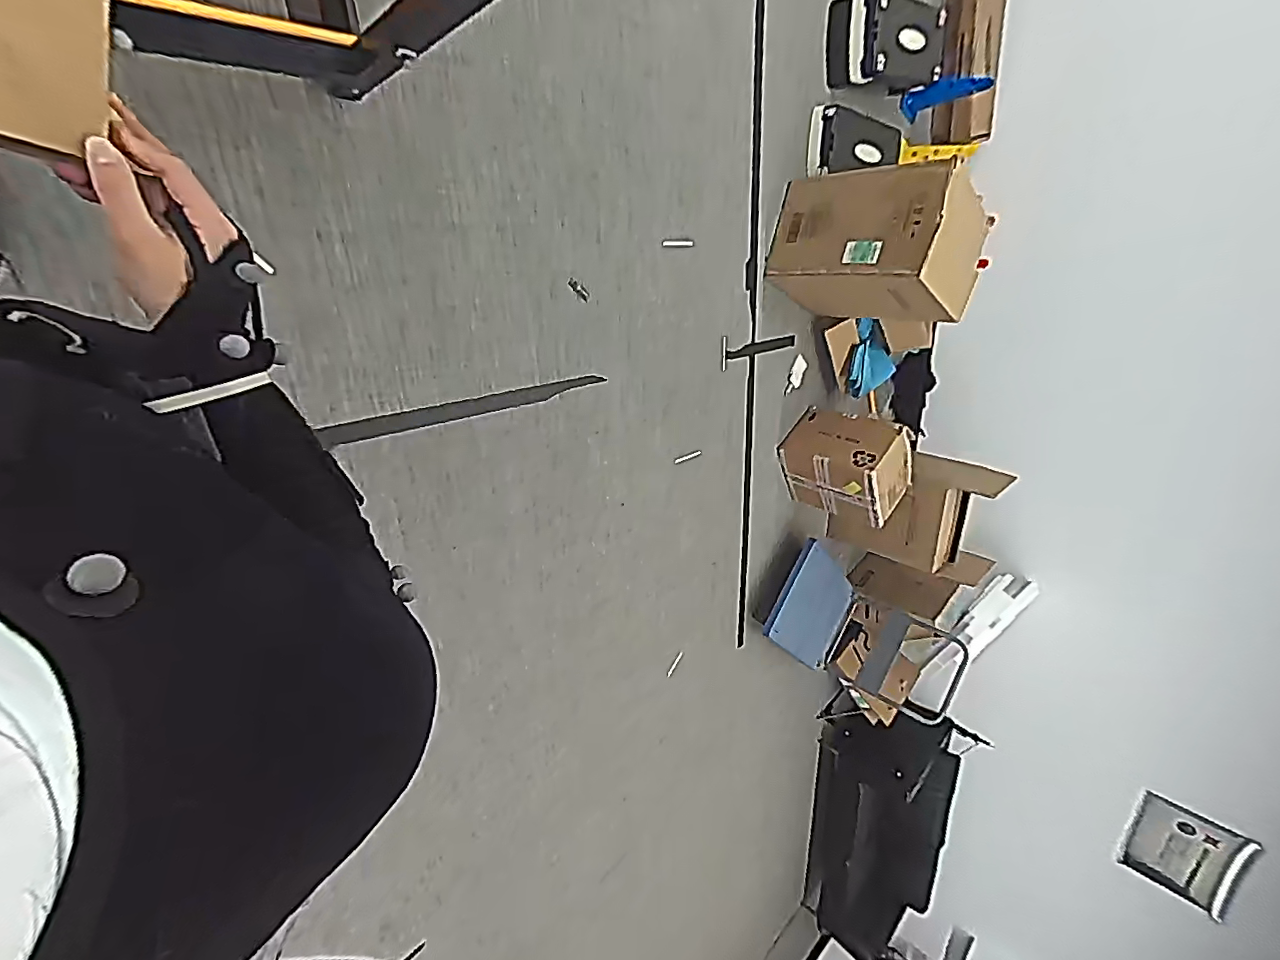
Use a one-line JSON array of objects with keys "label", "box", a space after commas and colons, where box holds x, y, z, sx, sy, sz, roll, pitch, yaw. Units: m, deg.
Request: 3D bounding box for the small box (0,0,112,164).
[{"label": "small box", "box": [-0.394, -0.287, 0.276, 0.168, 0.176, 0.179, -2, 112, -48]}]
